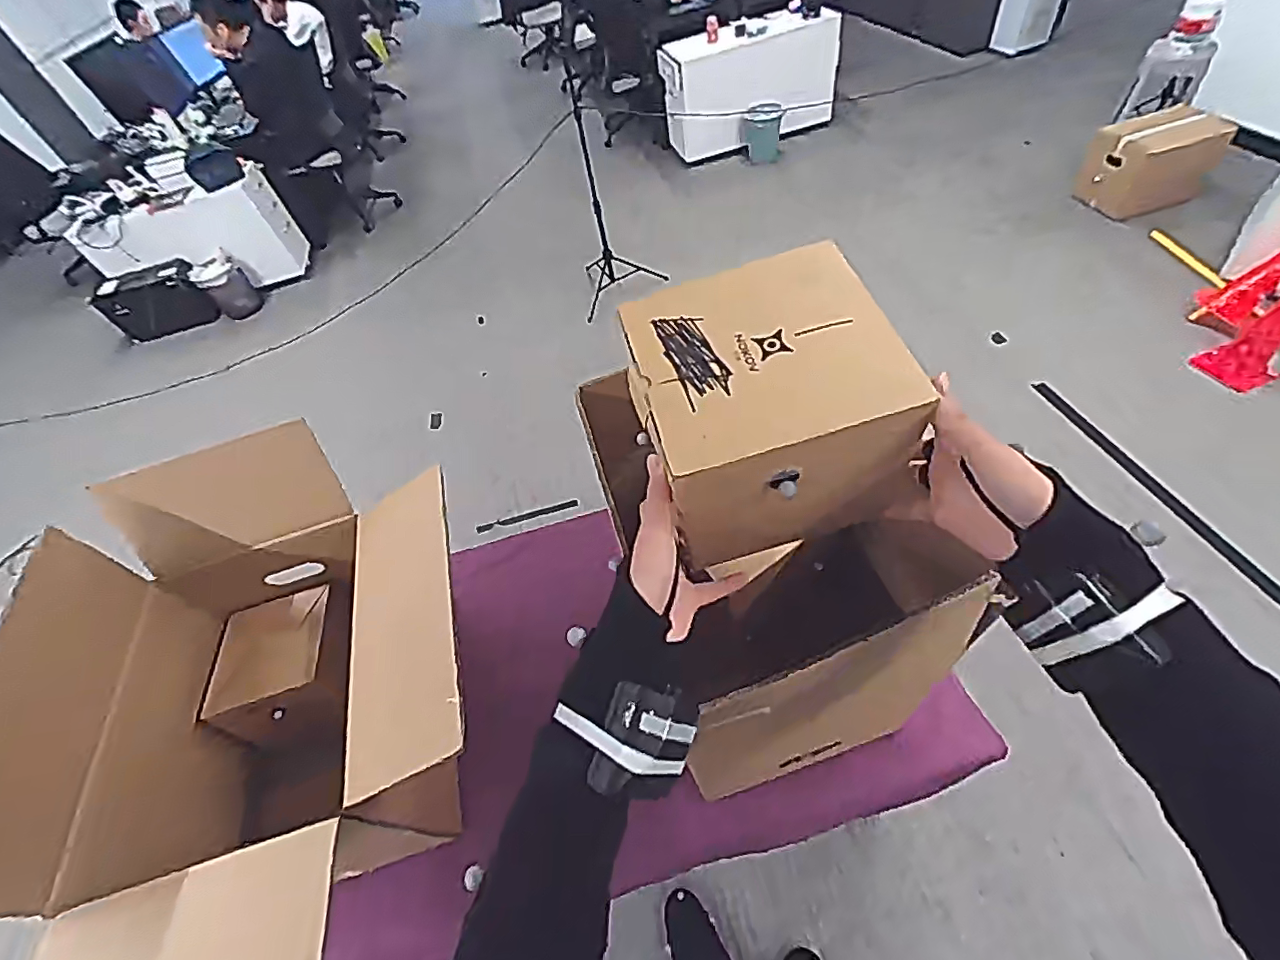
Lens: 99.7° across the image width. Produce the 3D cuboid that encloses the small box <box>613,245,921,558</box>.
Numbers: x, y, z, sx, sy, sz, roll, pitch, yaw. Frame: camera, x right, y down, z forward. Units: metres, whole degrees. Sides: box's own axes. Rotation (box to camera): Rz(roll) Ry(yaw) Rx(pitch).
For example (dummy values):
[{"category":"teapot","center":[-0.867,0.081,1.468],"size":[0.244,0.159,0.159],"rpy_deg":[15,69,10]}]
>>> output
[{"category":"small box","center":[0.092,-0.053,0.451],"size":[0.179,0.176,0.168],"rpy_deg":[-17,59,1]}]
